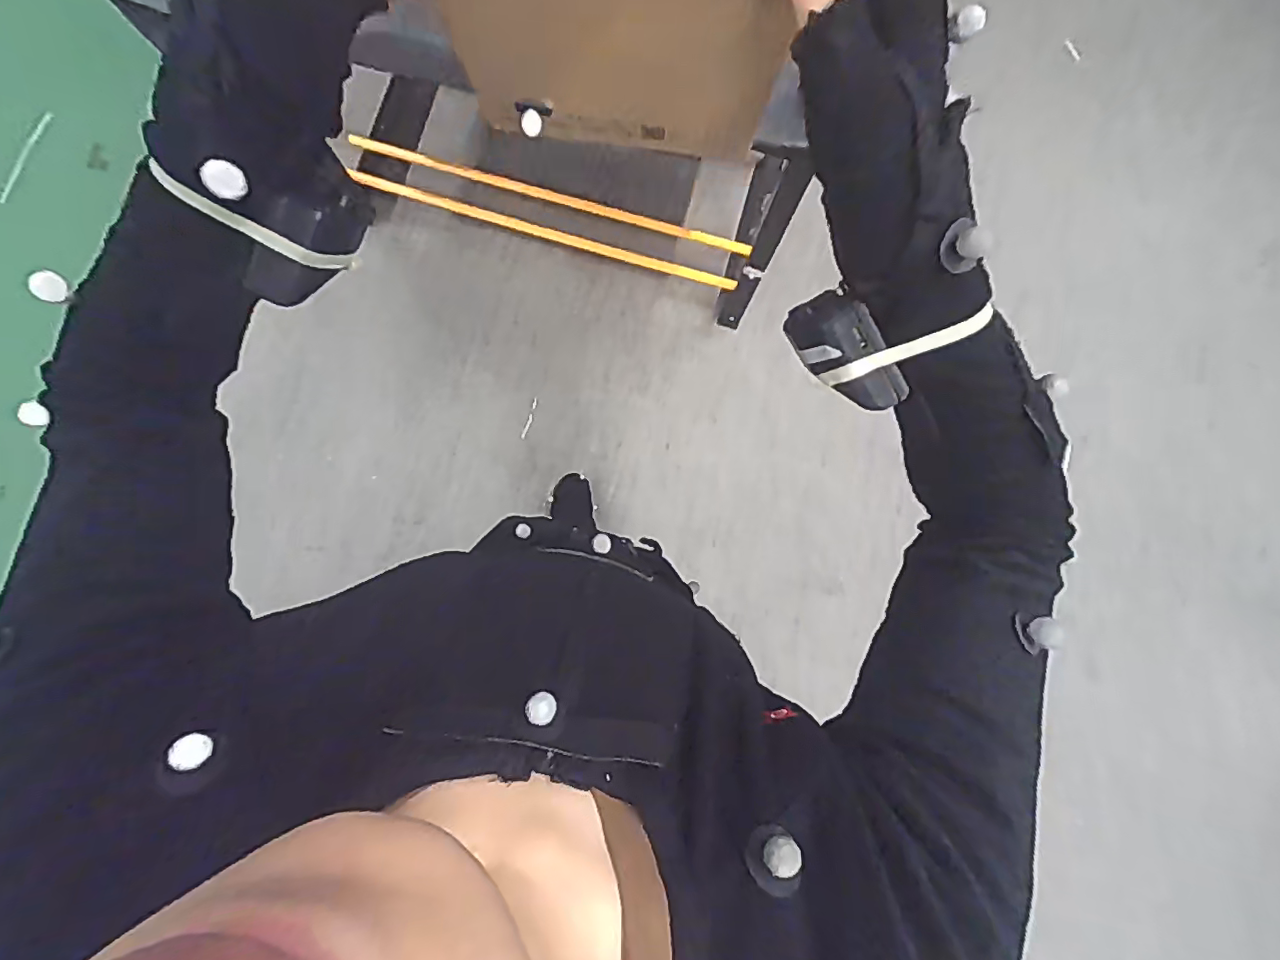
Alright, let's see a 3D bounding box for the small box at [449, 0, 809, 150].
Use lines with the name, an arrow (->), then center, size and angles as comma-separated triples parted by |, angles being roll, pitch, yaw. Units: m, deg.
small box -> 0.002, -0.289, 0.254 | 0.168, 0.176, 0.179 | 7, 96, -2
